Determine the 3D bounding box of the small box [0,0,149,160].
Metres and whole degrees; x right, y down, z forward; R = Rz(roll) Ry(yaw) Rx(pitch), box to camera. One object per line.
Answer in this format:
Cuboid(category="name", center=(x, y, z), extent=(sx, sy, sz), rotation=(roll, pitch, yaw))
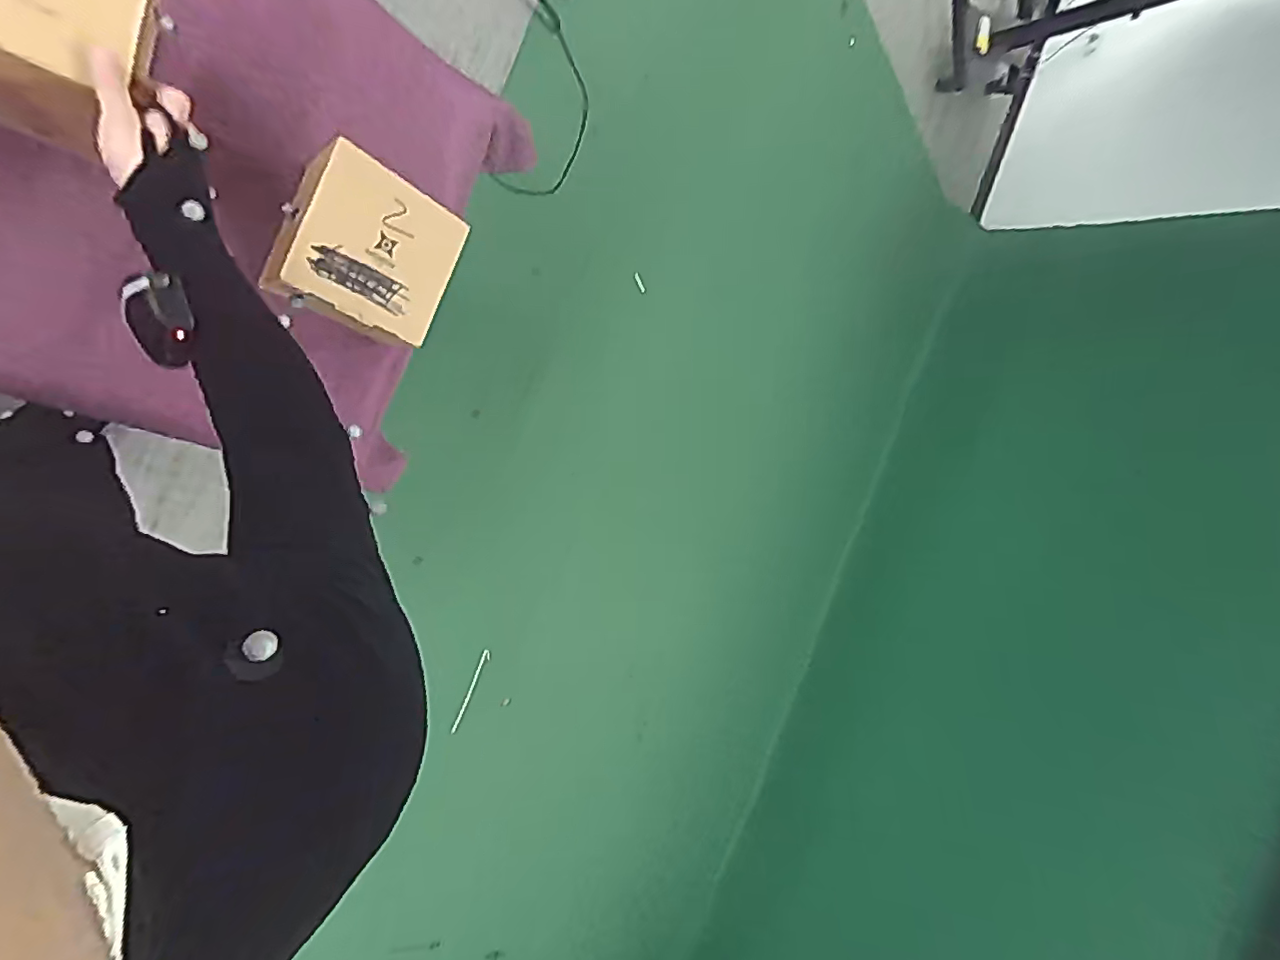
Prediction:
Cuboid(category="small box", center=(-0.546, -0.426, 0.466), extent=(0.168, 0.176, 0.179), rotation=(12, 85, -44))
